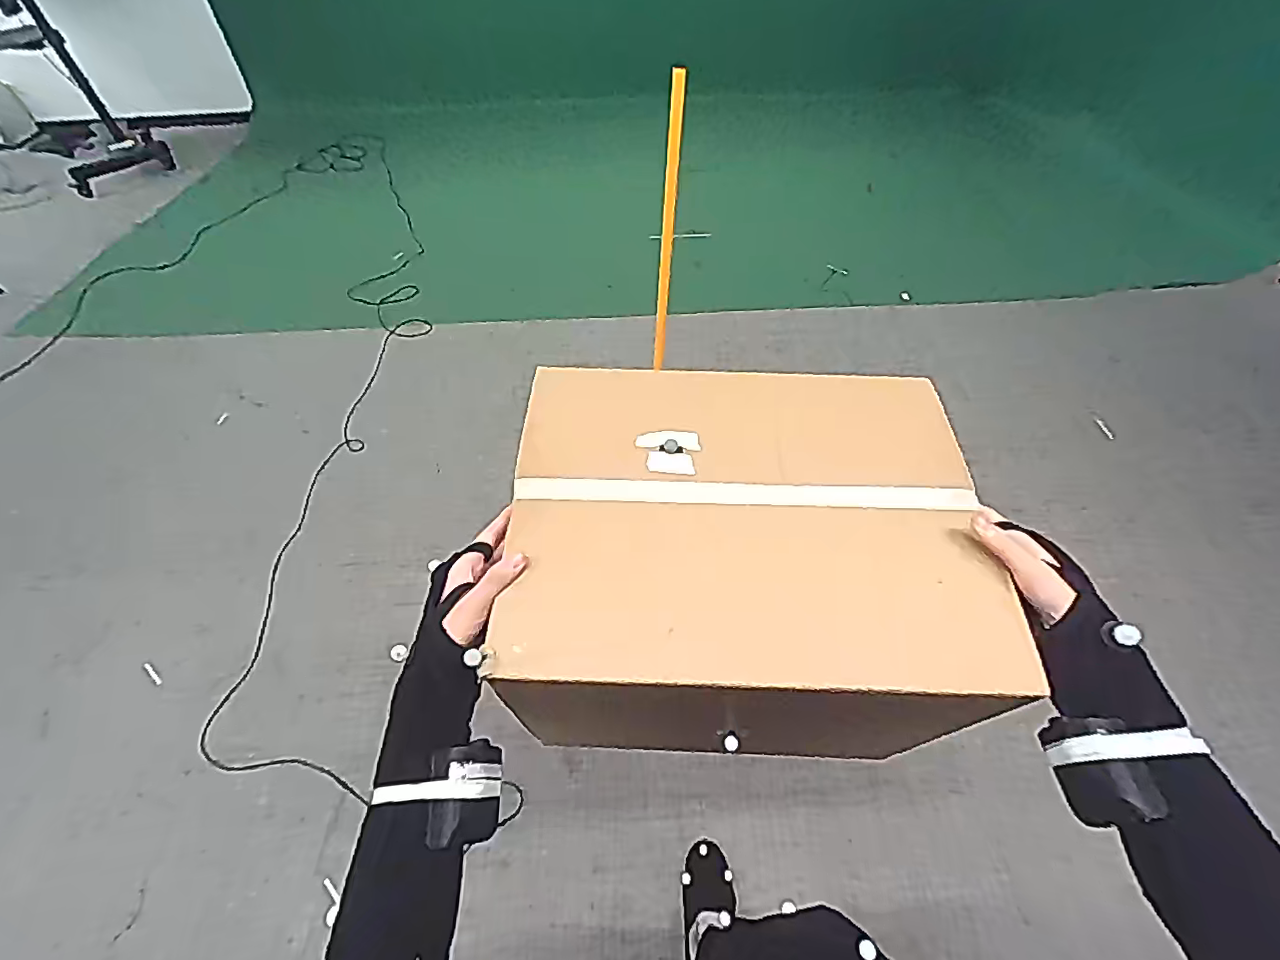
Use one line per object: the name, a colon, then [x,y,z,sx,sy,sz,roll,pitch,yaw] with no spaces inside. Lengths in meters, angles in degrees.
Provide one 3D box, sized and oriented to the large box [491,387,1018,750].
large box: [0.092,0.114,0.608,0.408,0.320,0.320,2,55,2]
